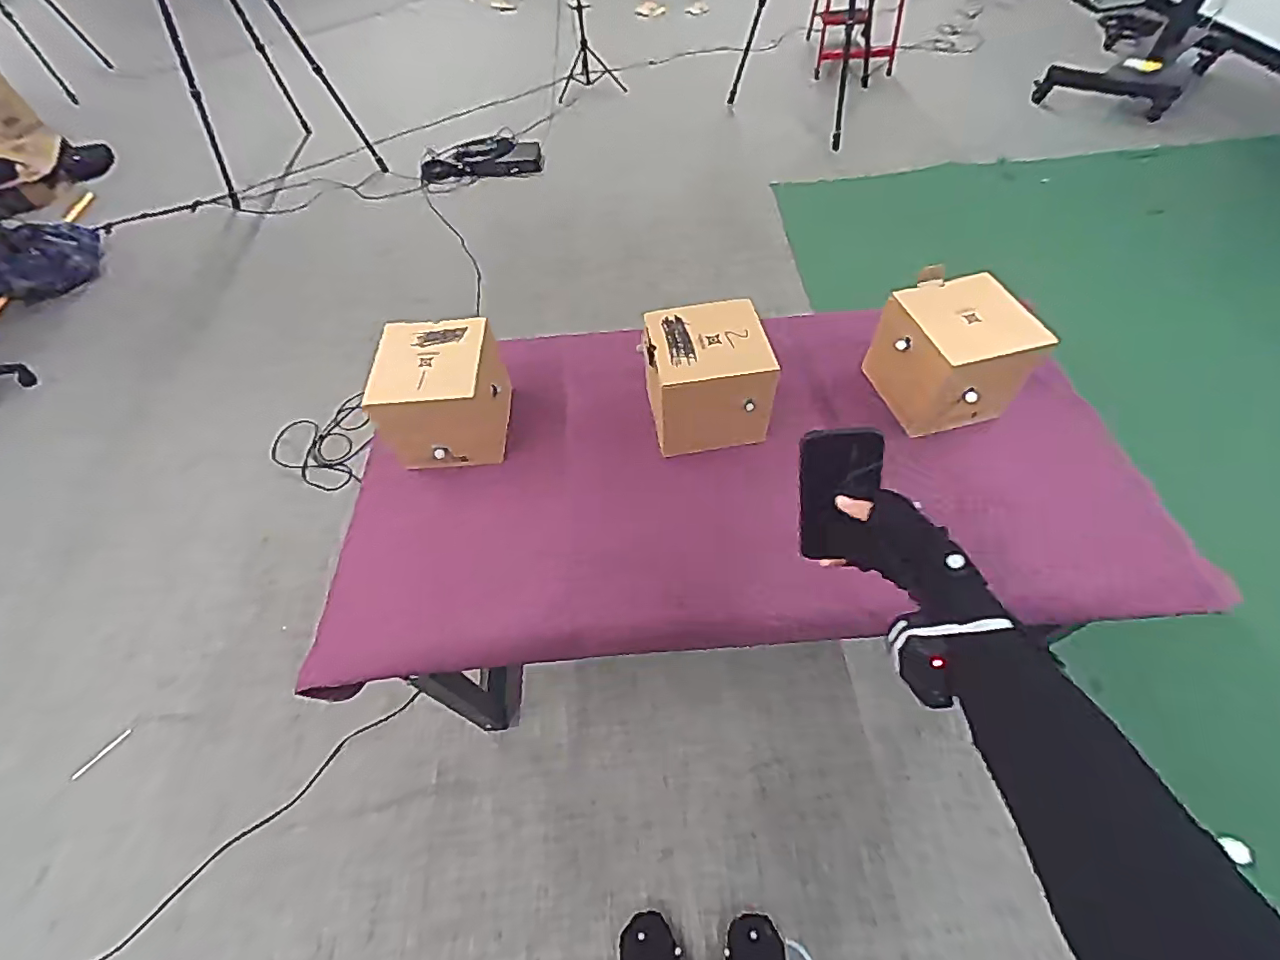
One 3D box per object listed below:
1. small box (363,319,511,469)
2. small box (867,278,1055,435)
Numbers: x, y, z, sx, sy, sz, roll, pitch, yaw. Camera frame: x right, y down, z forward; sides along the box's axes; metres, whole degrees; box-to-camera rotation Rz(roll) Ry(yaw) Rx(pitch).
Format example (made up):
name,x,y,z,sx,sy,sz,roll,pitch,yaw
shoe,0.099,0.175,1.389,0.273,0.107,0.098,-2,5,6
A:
name,x,y,z,sx,sy,sz,roll,pitch,yaw
small box,-0.315,-0.138,0.885,0.168,0.176,0.179,-3,57,1
small box,0.497,-0.190,0.870,0.168,0.176,0.179,-13,55,-5
